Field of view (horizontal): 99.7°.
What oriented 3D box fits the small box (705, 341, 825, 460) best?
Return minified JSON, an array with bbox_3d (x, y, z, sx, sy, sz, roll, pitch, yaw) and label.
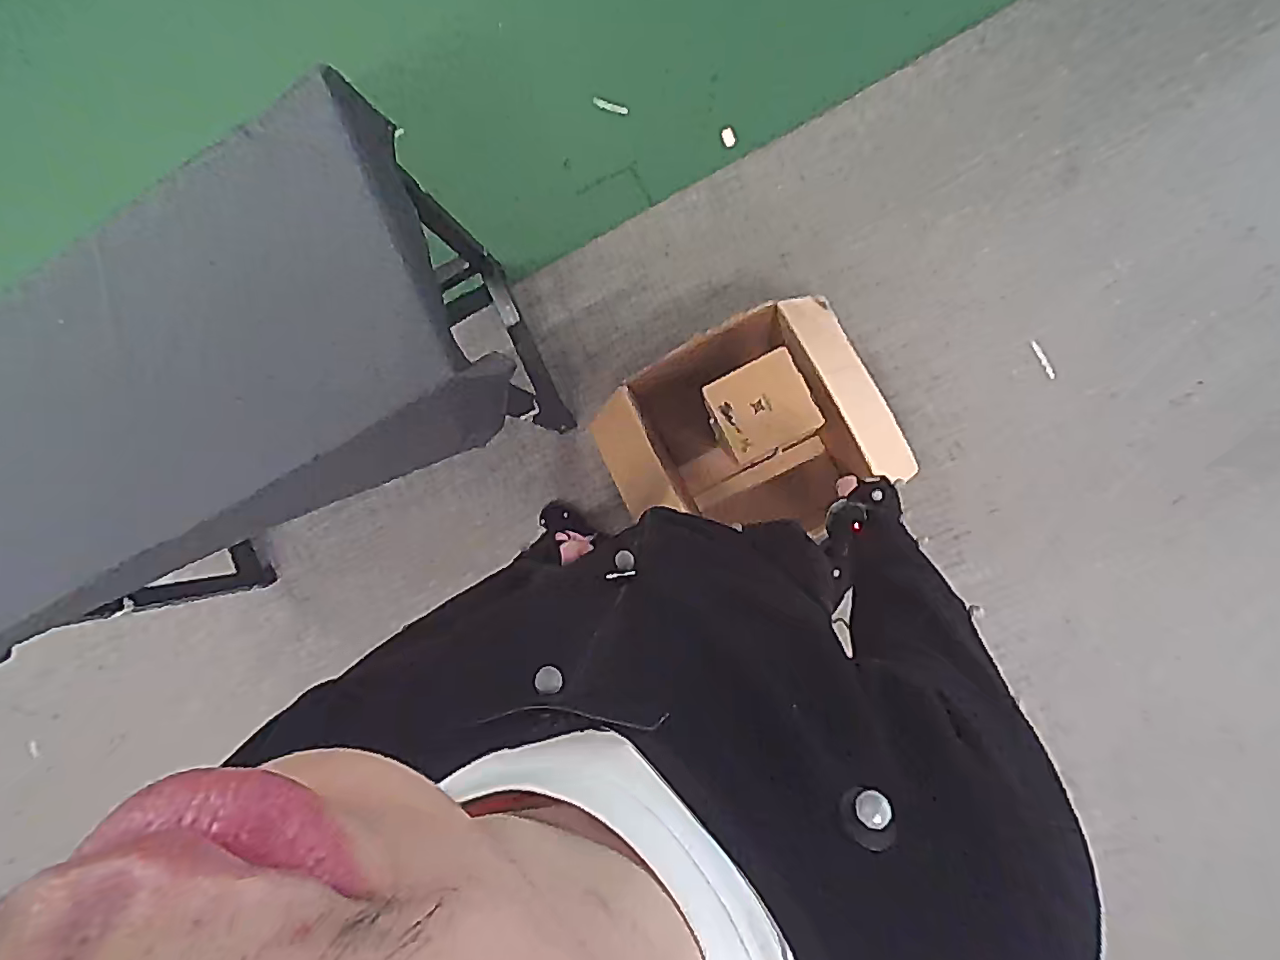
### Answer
[{"bbox_3d":[0.240,-0.150,1.083,0.179,0.176,0.168,-26,86,7],"label":"small box"}]
